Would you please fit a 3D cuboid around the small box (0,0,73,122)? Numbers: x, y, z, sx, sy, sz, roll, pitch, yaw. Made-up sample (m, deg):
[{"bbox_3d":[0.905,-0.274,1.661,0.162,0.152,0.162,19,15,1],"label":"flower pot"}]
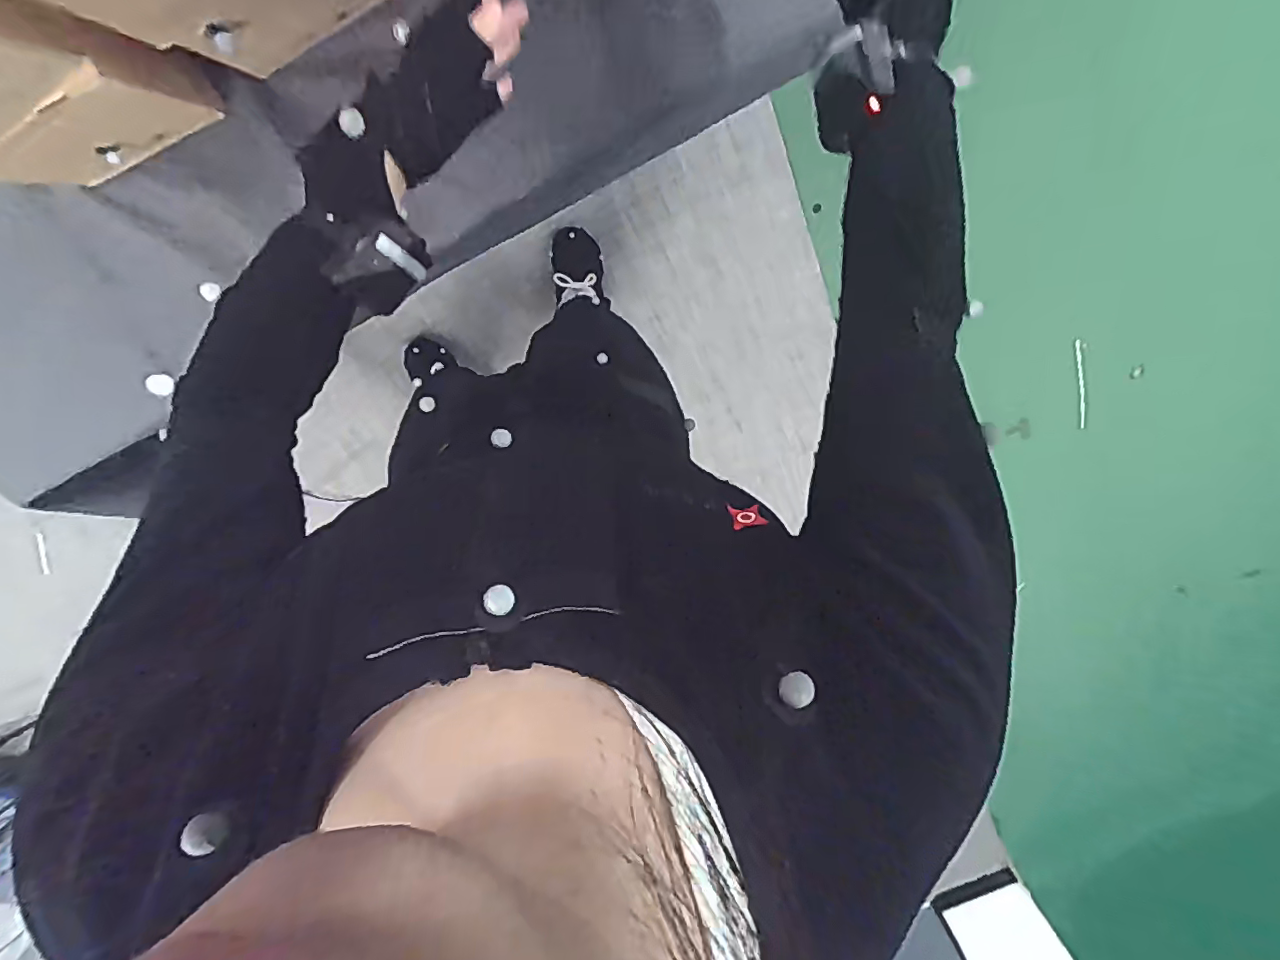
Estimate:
[{"bbox_3d":[-0.491,-0.286,0.291,0.179,0.176,0.168,-31,118,9],"label":"small box"}]
